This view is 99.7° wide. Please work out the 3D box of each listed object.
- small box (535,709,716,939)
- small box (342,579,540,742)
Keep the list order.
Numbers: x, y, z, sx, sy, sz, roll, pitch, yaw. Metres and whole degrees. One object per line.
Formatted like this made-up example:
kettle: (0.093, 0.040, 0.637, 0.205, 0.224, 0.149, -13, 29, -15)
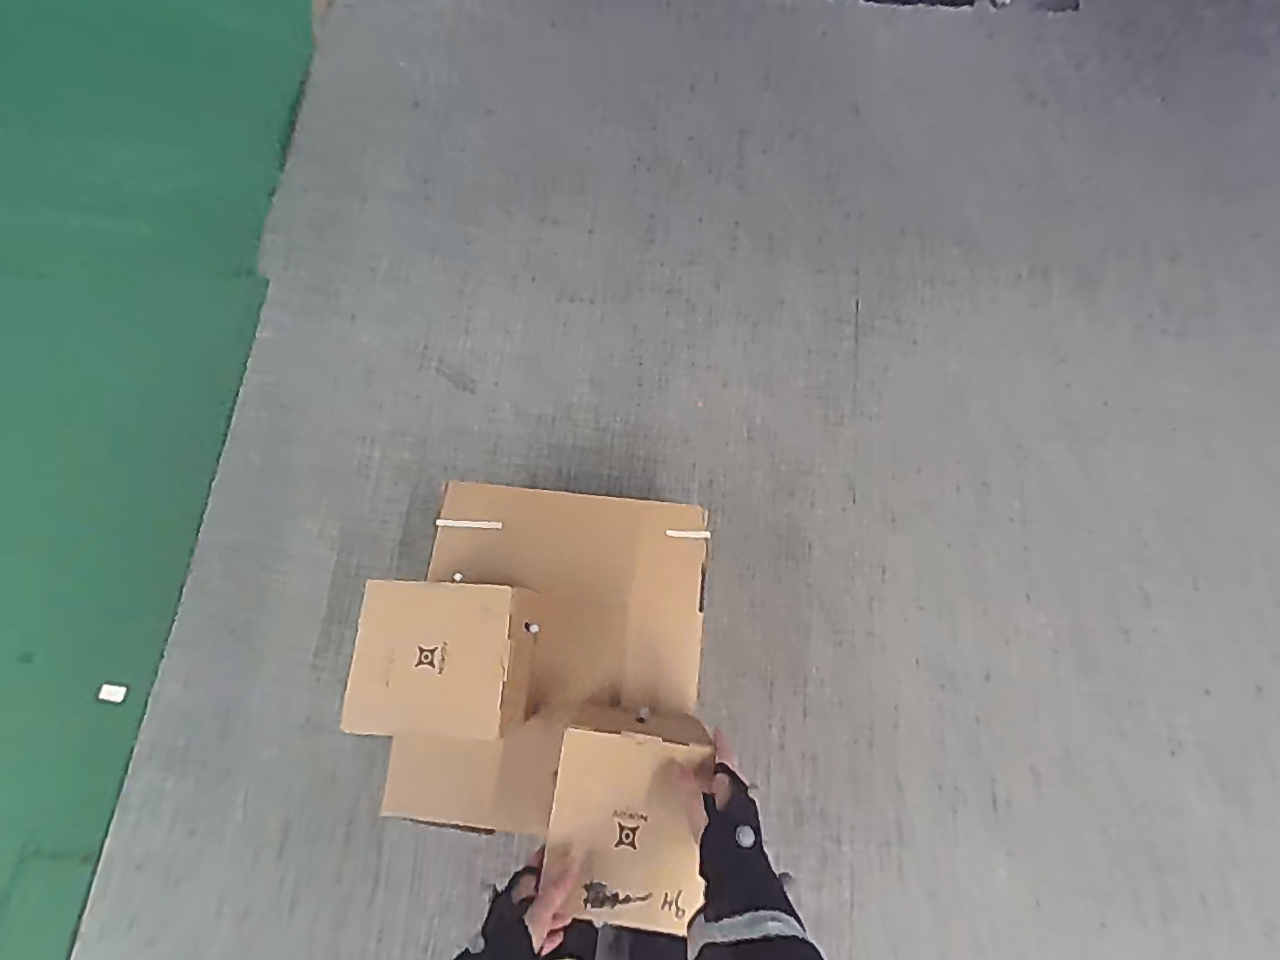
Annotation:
small box: (-0.013, 0.378, 0.632, 0.168, 0.176, 0.179, 9, 75, 2)
small box: (-0.230, 0.220, 0.680, 0.179, 0.176, 0.168, 3, 74, 2)
